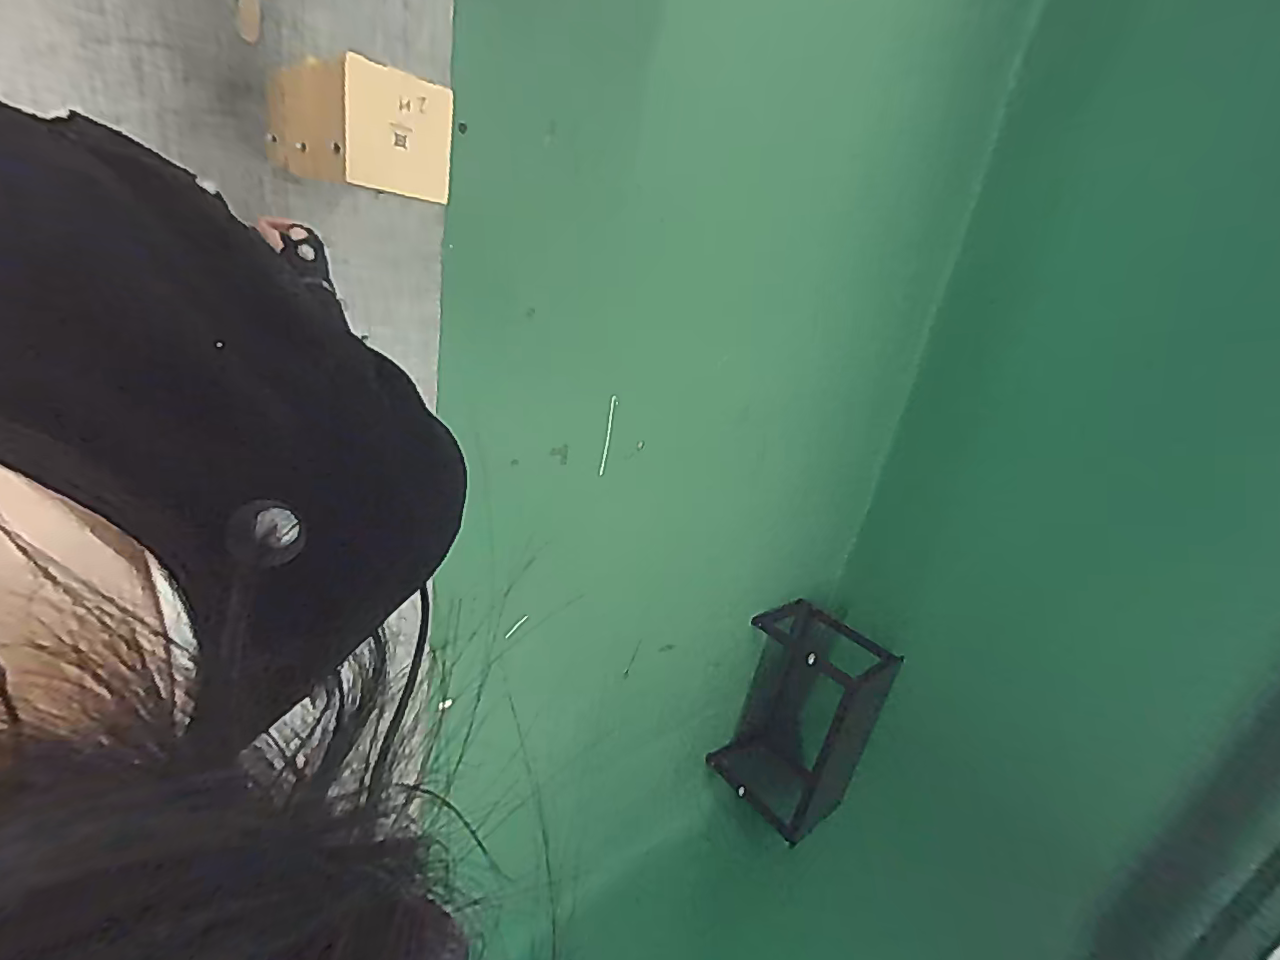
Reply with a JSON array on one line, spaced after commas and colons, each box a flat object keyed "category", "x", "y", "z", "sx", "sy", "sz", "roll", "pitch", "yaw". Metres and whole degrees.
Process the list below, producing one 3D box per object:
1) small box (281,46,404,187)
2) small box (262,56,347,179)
[{"category": "small box", "x": -0.555, "y": -0.666, "z": 1.010, "sx": 0.168, "sy": 0.176, "sz": 0.179, "roll": -10, "pitch": 120, "yaw": -41}, {"category": "small box", "x": -0.664, "y": -0.729, "z": 1.112, "sx": 0.179, "sy": 0.176, "sz": 0.168, "roll": -7, "pitch": 117, "yaw": -43}]
